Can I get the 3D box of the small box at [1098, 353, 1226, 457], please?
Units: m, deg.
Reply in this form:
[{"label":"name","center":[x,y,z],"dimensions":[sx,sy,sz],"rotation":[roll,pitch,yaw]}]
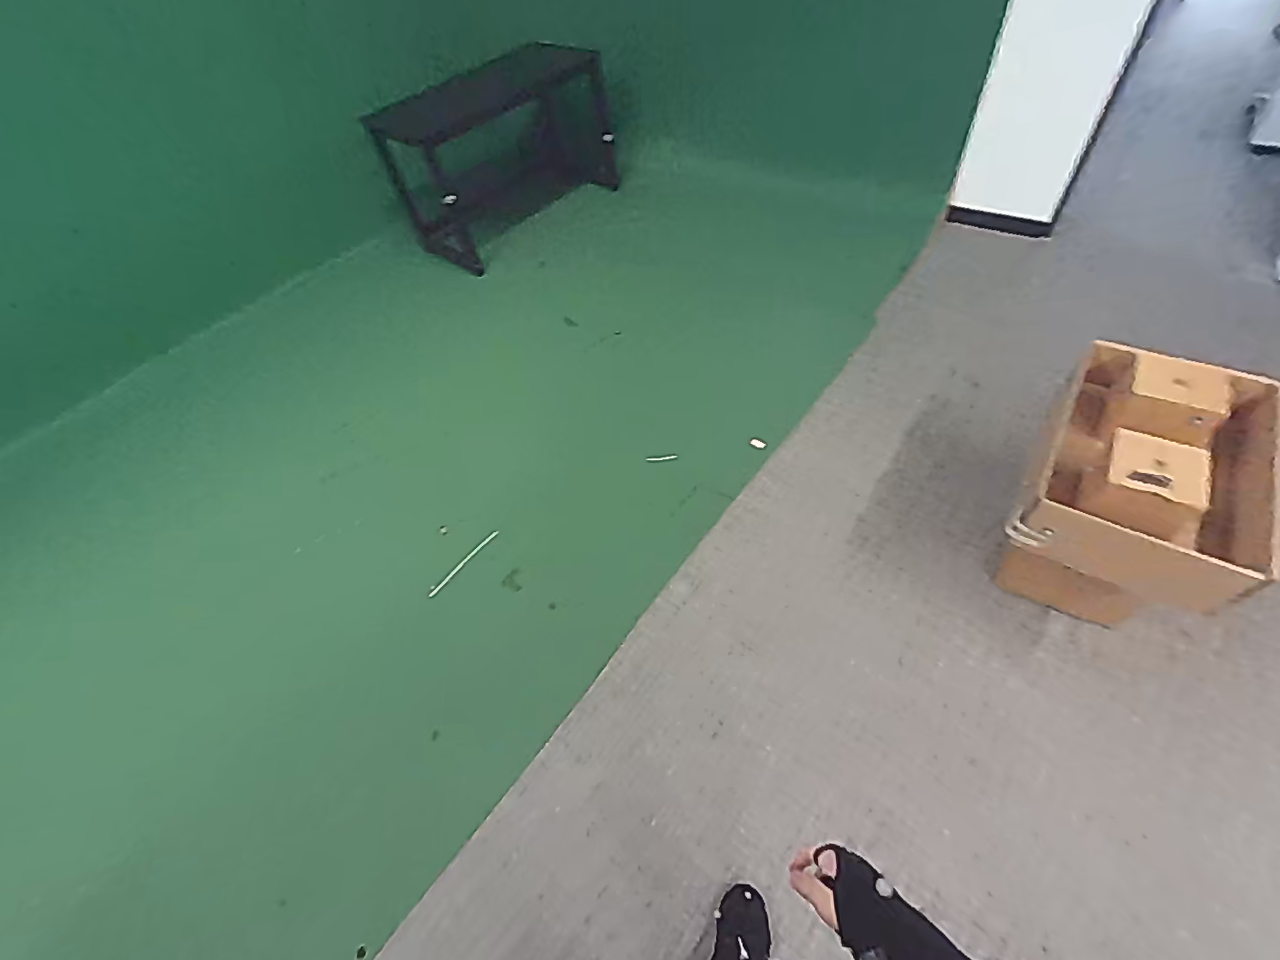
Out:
[{"label":"small box","center":[1.282,-0.182,1.338],"dimensions":[0.179,0.176,0.168],"rotation":[22,58,24]}]
